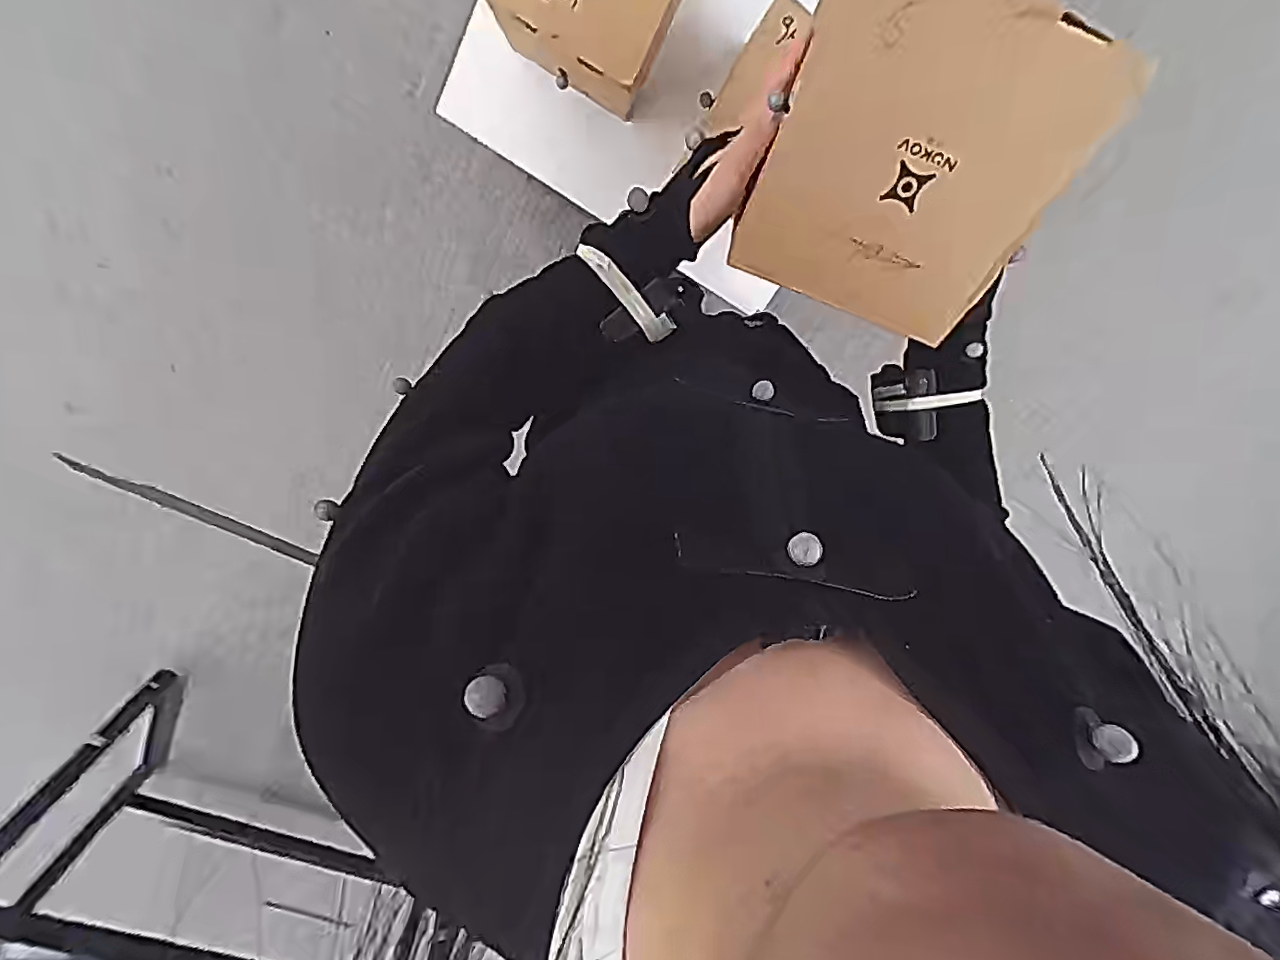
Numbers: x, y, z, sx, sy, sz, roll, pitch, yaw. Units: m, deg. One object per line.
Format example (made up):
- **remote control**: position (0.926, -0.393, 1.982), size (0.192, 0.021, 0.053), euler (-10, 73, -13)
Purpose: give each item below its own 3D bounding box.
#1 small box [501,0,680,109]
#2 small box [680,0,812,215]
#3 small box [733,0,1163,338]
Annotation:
- **small box**: position (-0.044, -0.544, 0.578), size (0.168, 0.176, 0.179), euler (26, 111, -13)
- **small box**: position (0.160, -0.416, 0.648), size (0.168, 0.176, 0.179), euler (30, 111, -14)
- **small box**: position (0.176, -0.239, 0.378), size (0.168, 0.176, 0.179), euler (20, 135, -5)
